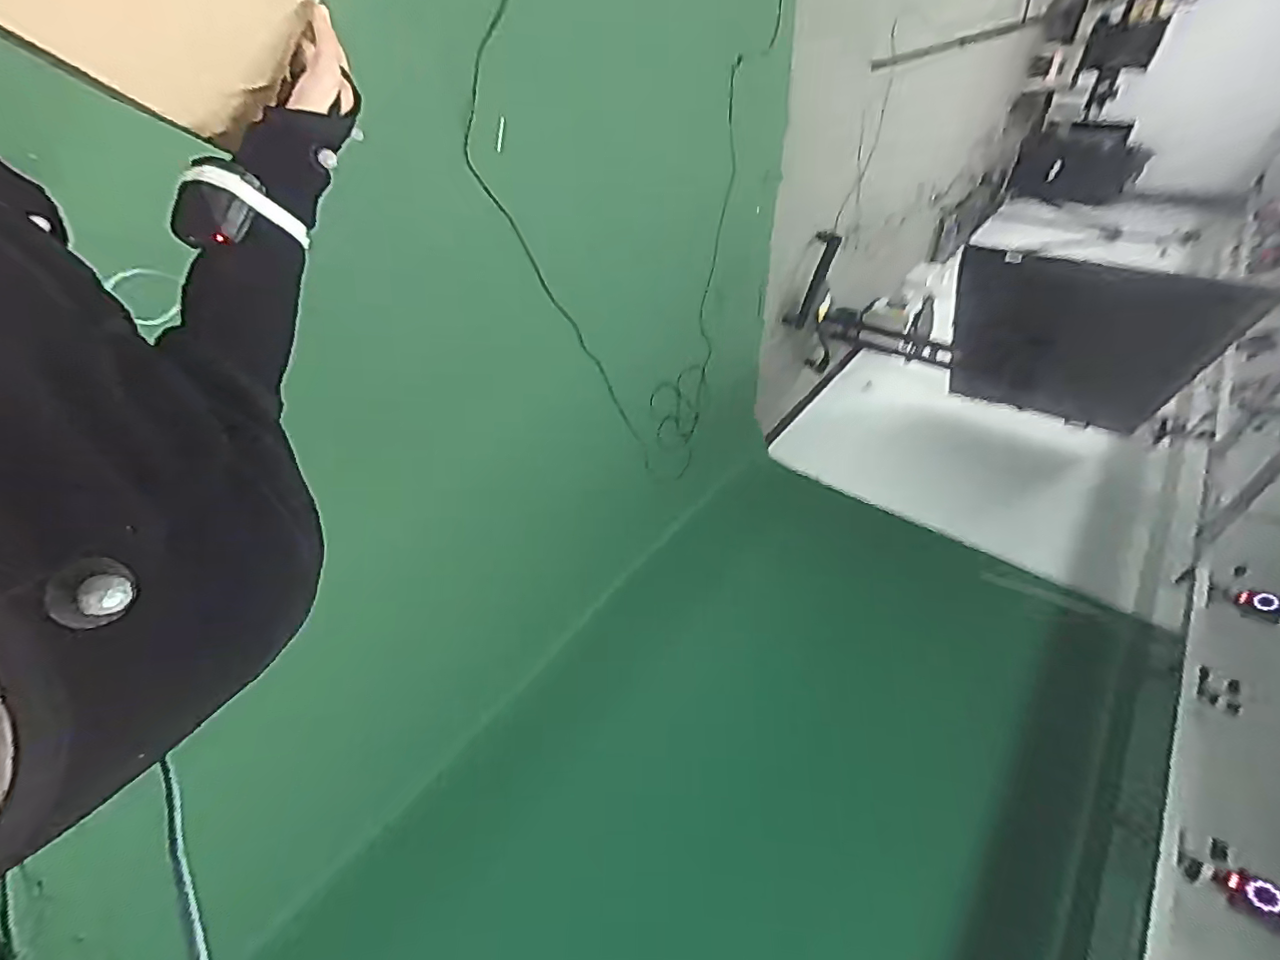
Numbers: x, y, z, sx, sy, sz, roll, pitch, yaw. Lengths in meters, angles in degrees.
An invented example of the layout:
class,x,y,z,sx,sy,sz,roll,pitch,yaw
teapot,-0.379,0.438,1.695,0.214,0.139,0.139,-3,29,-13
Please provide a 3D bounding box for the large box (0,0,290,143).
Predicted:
class,x,y,z,sx,sy,sz,roll,pitch,yaw
large box,-0.492,-0.515,0.349,0.320,0.320,0.408,-62,155,10
